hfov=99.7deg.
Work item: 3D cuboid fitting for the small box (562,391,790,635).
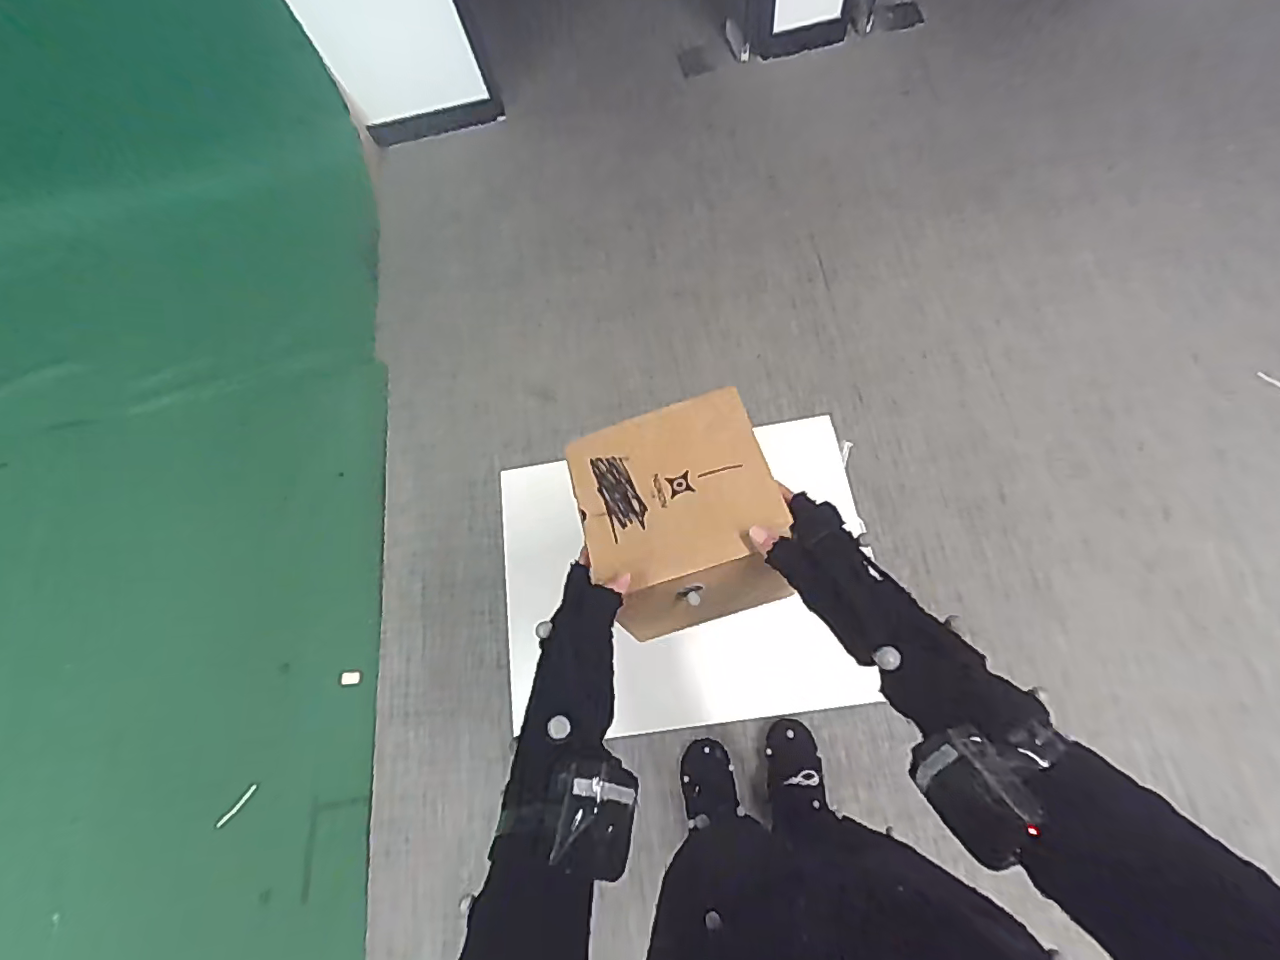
[{"bbox_3d":[0.040,0.044,0.547,0.179,0.176,0.168,-17,61,3],"label":"small box"}]
